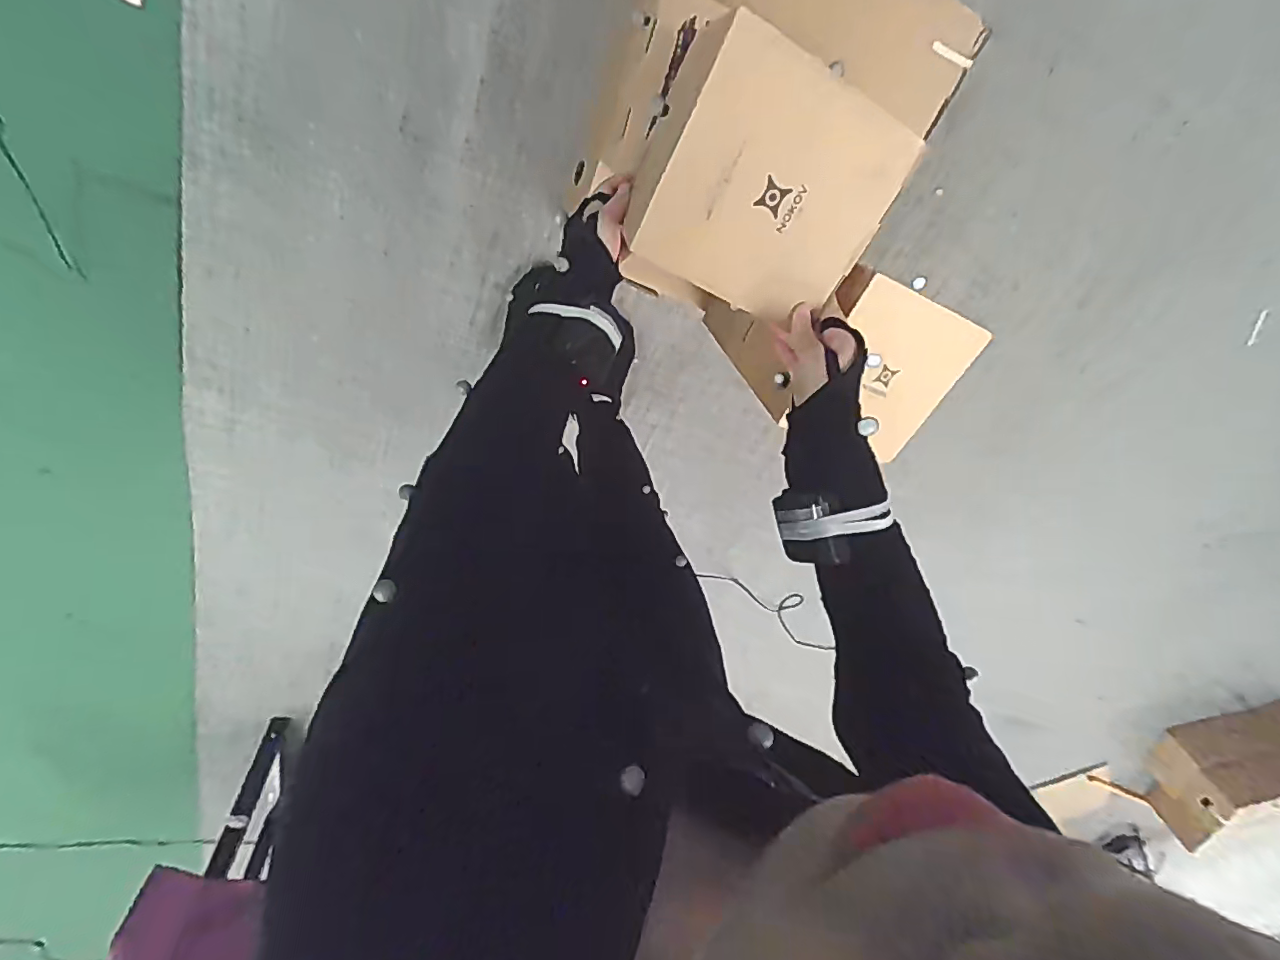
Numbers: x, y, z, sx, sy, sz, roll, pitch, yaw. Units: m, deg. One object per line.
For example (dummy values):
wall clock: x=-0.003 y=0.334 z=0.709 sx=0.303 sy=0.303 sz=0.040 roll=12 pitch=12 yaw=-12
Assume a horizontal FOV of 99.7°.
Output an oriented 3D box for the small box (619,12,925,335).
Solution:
small box: x=0.095 y=-0.262 z=0.478 sx=0.179 sy=0.176 sz=0.168 roll=20 pitch=120 yaw=-19

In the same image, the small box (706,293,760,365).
small box: x=0.220 y=-0.243 z=0.764 sx=0.179 sy=0.176 sz=0.168 roll=16 pitch=121 yaw=-21

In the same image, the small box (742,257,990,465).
small box: x=0.242 y=-0.151 z=0.631 sx=0.168 sy=0.176 sz=0.179 roll=16 pitch=122 yaw=-21
